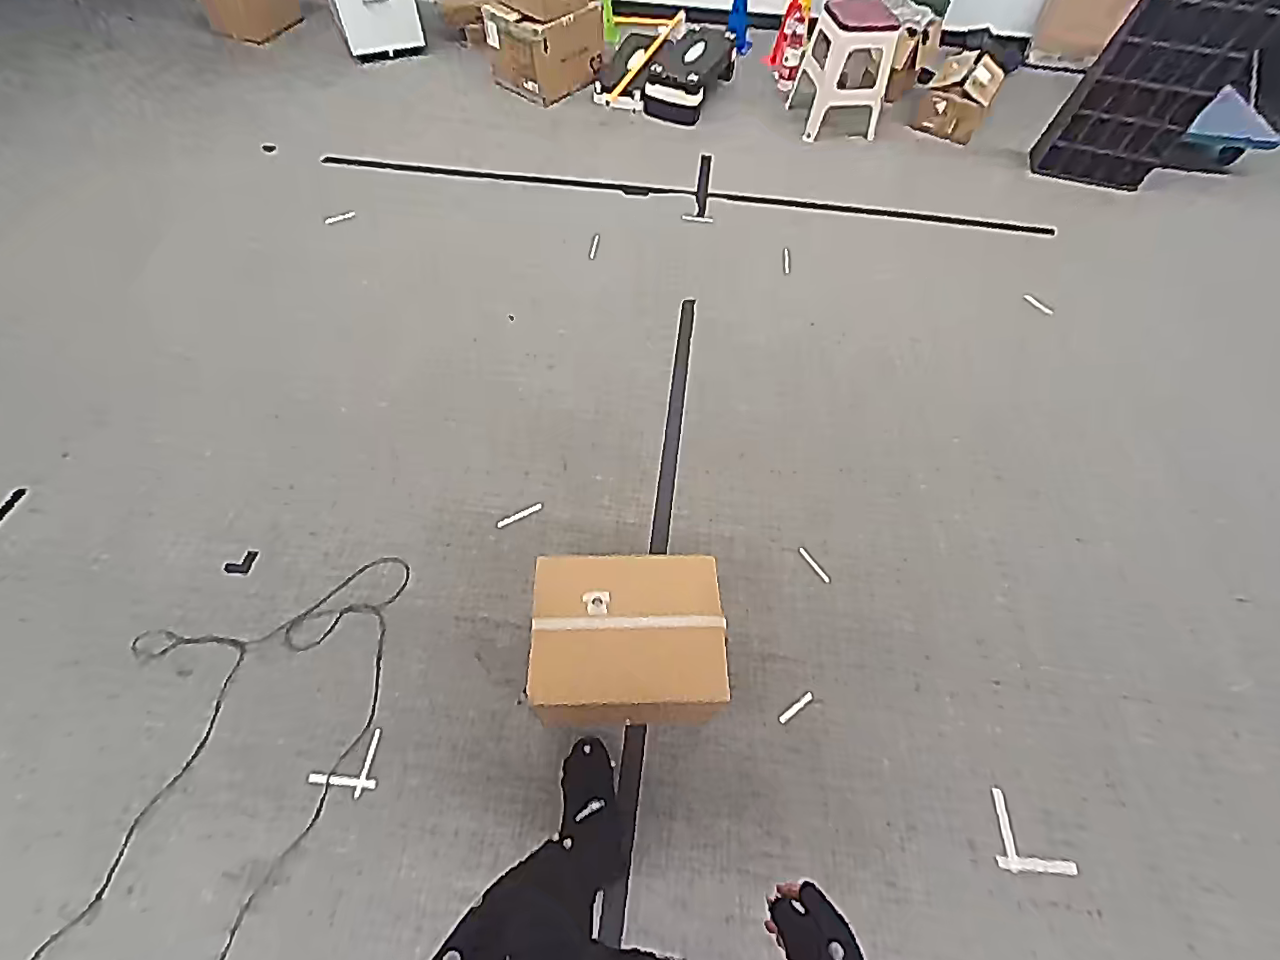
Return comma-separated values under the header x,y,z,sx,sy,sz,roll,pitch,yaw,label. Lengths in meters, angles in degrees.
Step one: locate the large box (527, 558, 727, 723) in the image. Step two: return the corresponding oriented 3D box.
x,y,z,sx,sy,sz,roll,pitch,yaw,label
-0.030,0.386,1.270,0.408,0.320,0.320,0,58,-2,large box
